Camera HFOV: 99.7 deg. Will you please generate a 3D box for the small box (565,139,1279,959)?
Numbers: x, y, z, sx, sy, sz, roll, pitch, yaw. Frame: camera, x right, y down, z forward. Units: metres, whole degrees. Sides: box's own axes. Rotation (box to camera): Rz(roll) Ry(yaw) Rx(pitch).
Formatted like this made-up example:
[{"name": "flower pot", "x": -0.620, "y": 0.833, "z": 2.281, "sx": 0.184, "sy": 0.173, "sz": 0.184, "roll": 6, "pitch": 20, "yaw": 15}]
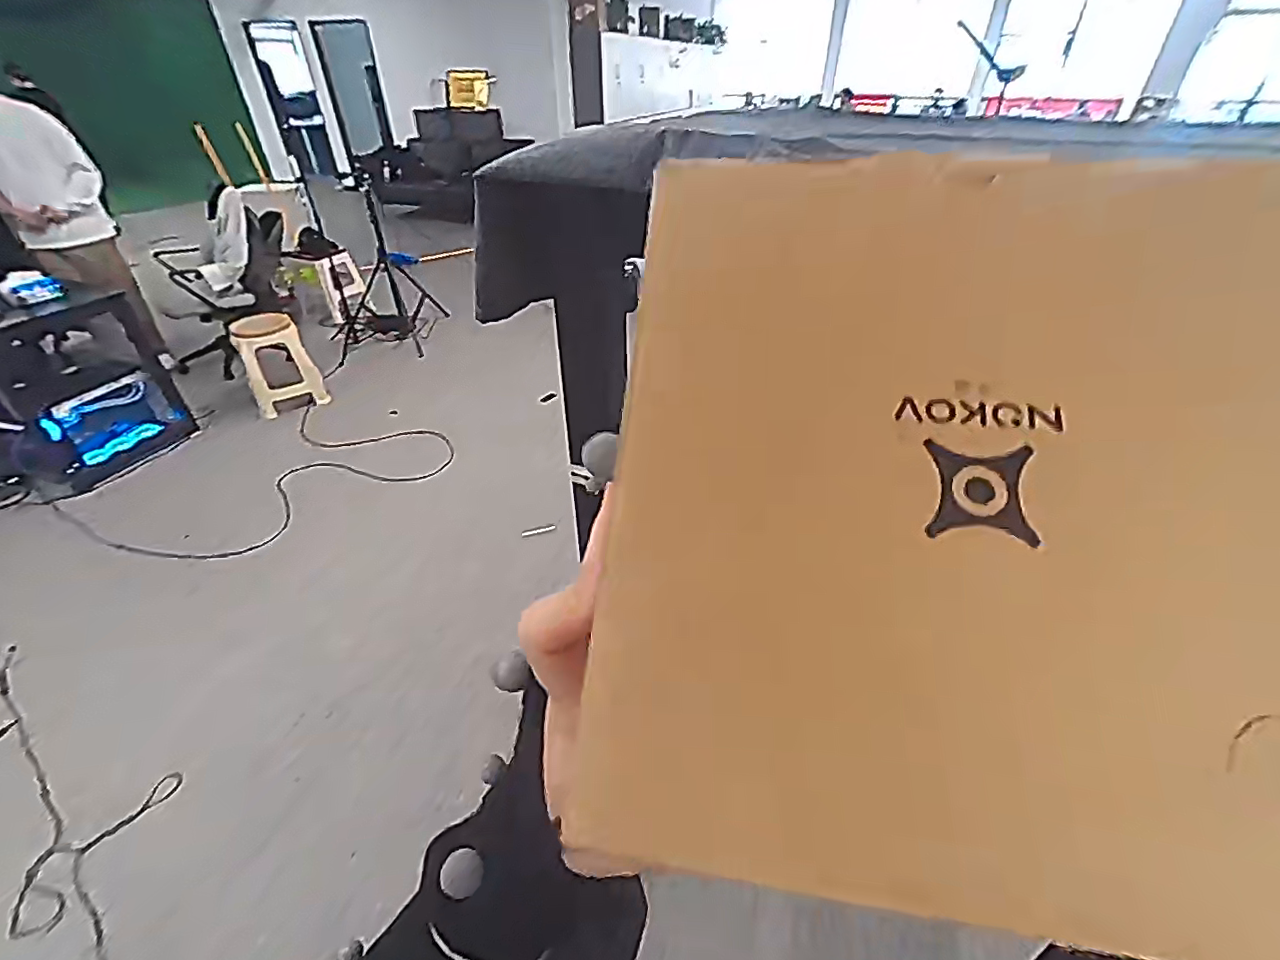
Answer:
[{"name": "small box", "x": 0.084, "y": 0.018, "z": 0.195, "sx": 0.168, "sy": 0.176, "sz": 0.179, "roll": 5, "pitch": 73, "yaw": 8}]
